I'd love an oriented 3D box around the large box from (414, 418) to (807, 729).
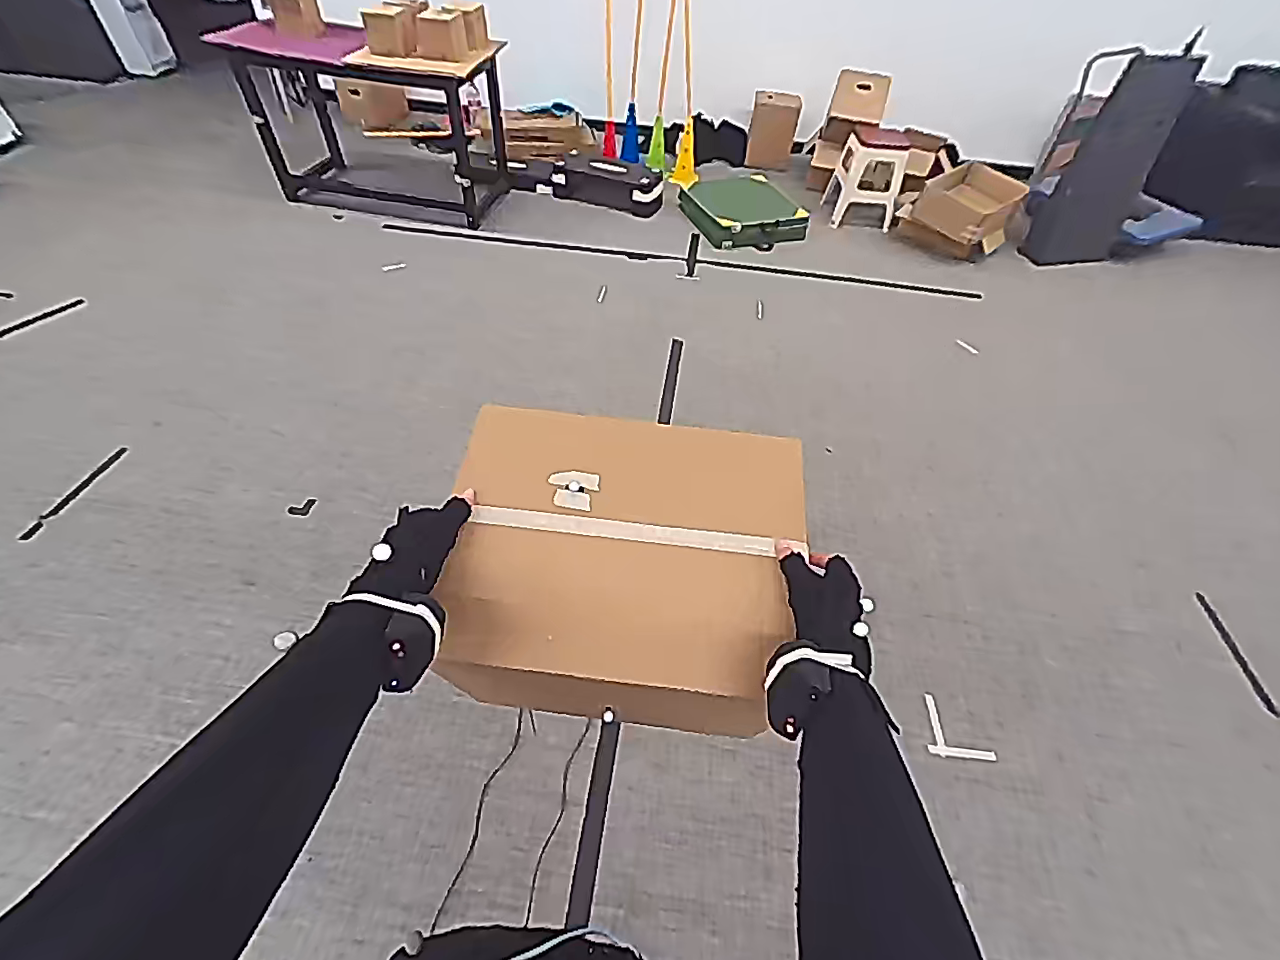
[{"bbox_3d":[-0.018,0.143,0.741,0.408,0.320,0.320,6,59,2],"label":"large box"}]
